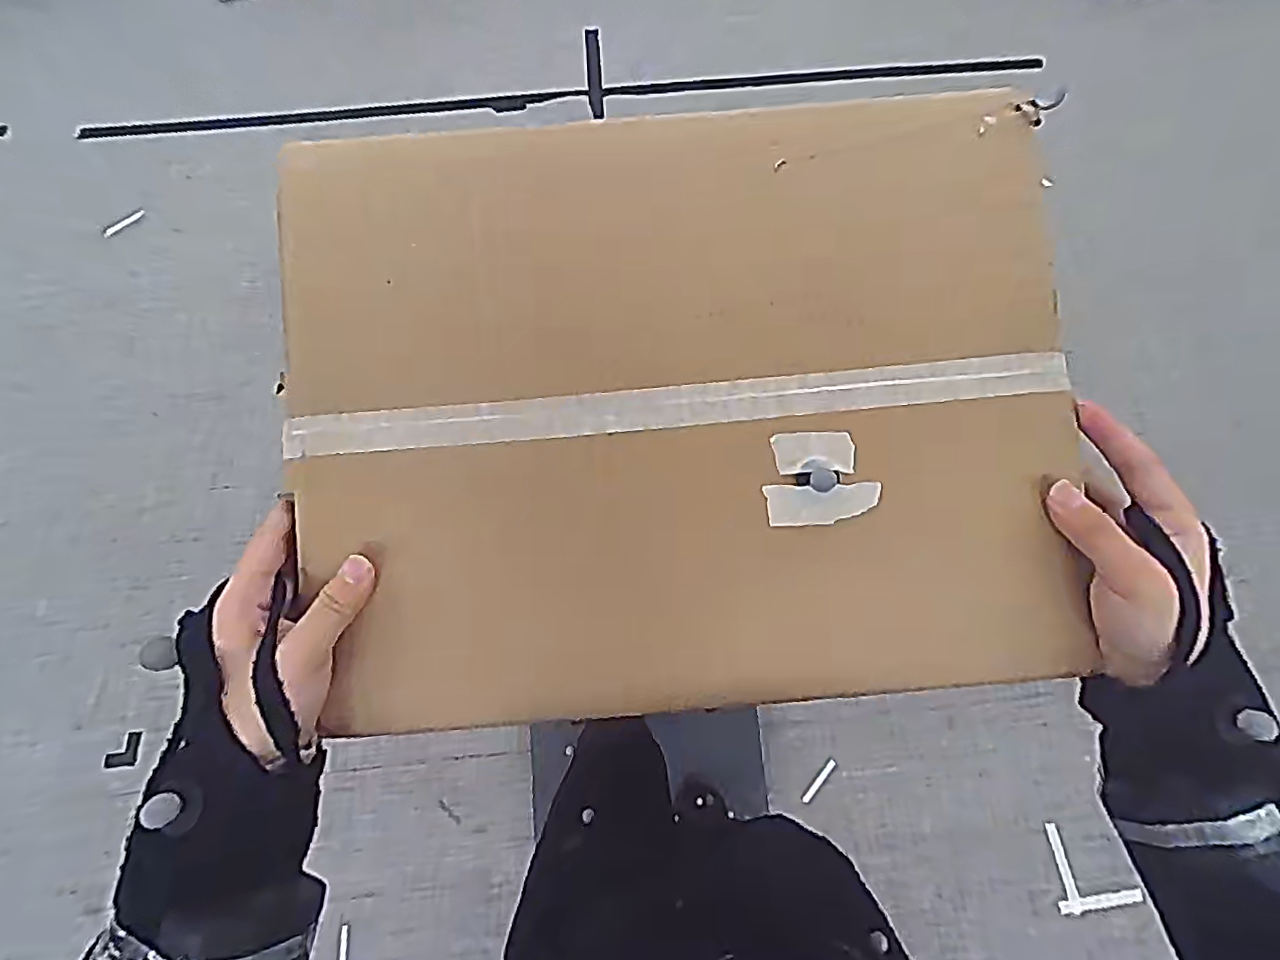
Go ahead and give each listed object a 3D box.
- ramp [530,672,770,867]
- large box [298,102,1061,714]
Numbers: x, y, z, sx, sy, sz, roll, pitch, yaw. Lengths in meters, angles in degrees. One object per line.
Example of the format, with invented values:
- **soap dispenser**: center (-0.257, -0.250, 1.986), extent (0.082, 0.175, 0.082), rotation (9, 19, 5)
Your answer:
- **ramp**: center (-0.008, 0.288, 1.203), extent (0.509, 0.206, 0.991), rotation (-6, 71, -3)
- **large box**: center (0.016, -0.037, 0.447), extent (0.408, 0.320, 0.320), rotation (-5, 88, -1)
